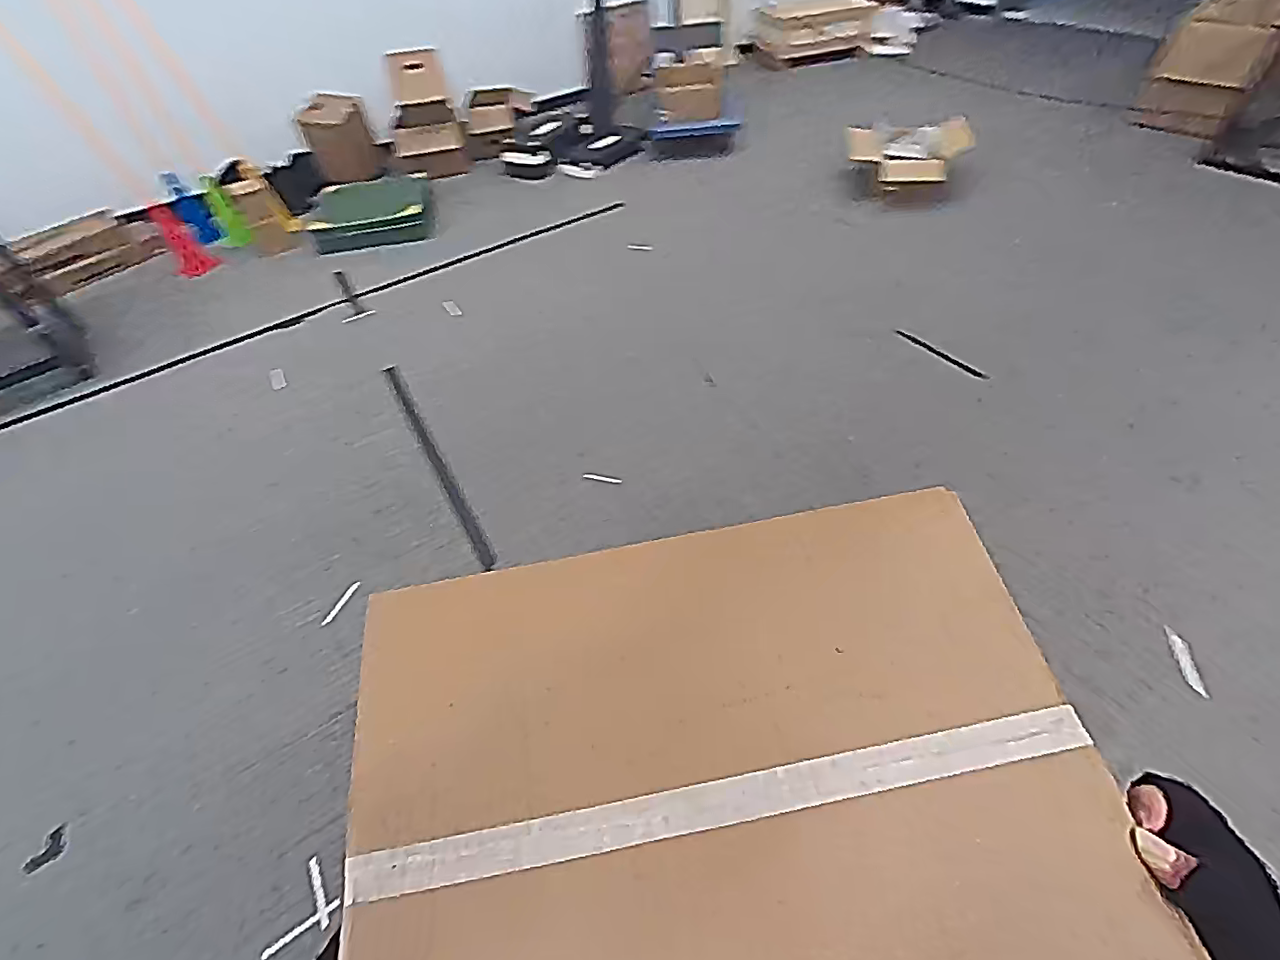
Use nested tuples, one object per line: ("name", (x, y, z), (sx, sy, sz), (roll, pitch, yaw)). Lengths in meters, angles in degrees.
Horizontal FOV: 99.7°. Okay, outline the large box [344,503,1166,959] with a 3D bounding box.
("large box", (0.048, 0.259, 0.428), (0.408, 0.320, 0.320), (-12, 59, -3))
